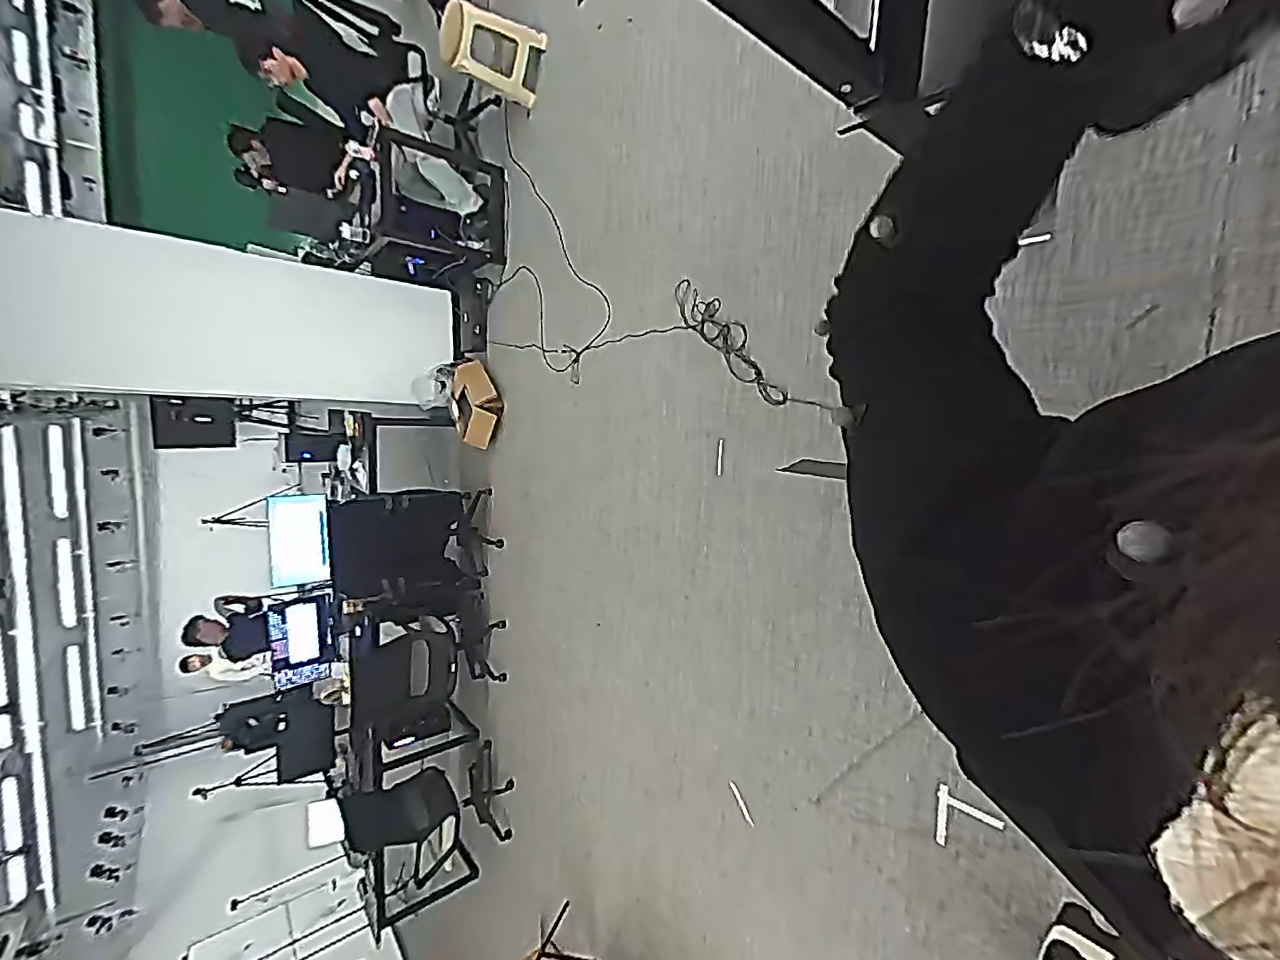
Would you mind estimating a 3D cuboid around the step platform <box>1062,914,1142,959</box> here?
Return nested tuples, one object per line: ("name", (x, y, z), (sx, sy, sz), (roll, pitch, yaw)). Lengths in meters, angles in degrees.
("step platform", (1.146, 1.185, 0.956), (0.684, 0.204, 0.286), (19, 107, 48))
